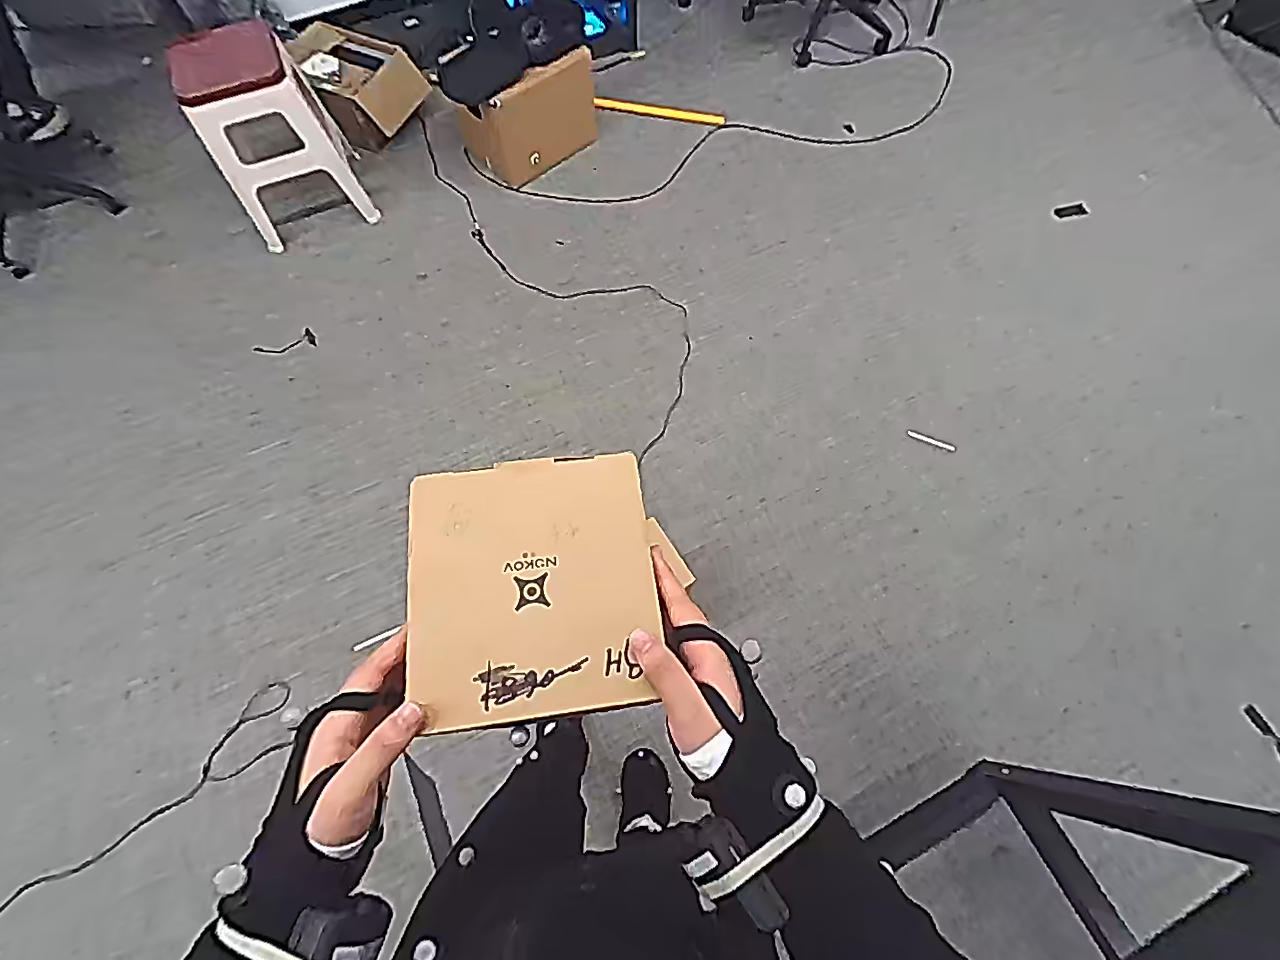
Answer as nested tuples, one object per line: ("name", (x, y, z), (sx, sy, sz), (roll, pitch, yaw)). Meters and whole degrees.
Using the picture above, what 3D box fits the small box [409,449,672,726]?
("small box", (-0.073, 0.096, 0.442), (0.168, 0.176, 0.179), (-7, 66, -4))

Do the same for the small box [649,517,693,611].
("small box", (-0.004, 0.214, 1.182), (0.179, 0.176, 0.168), (-30, 72, -13))
